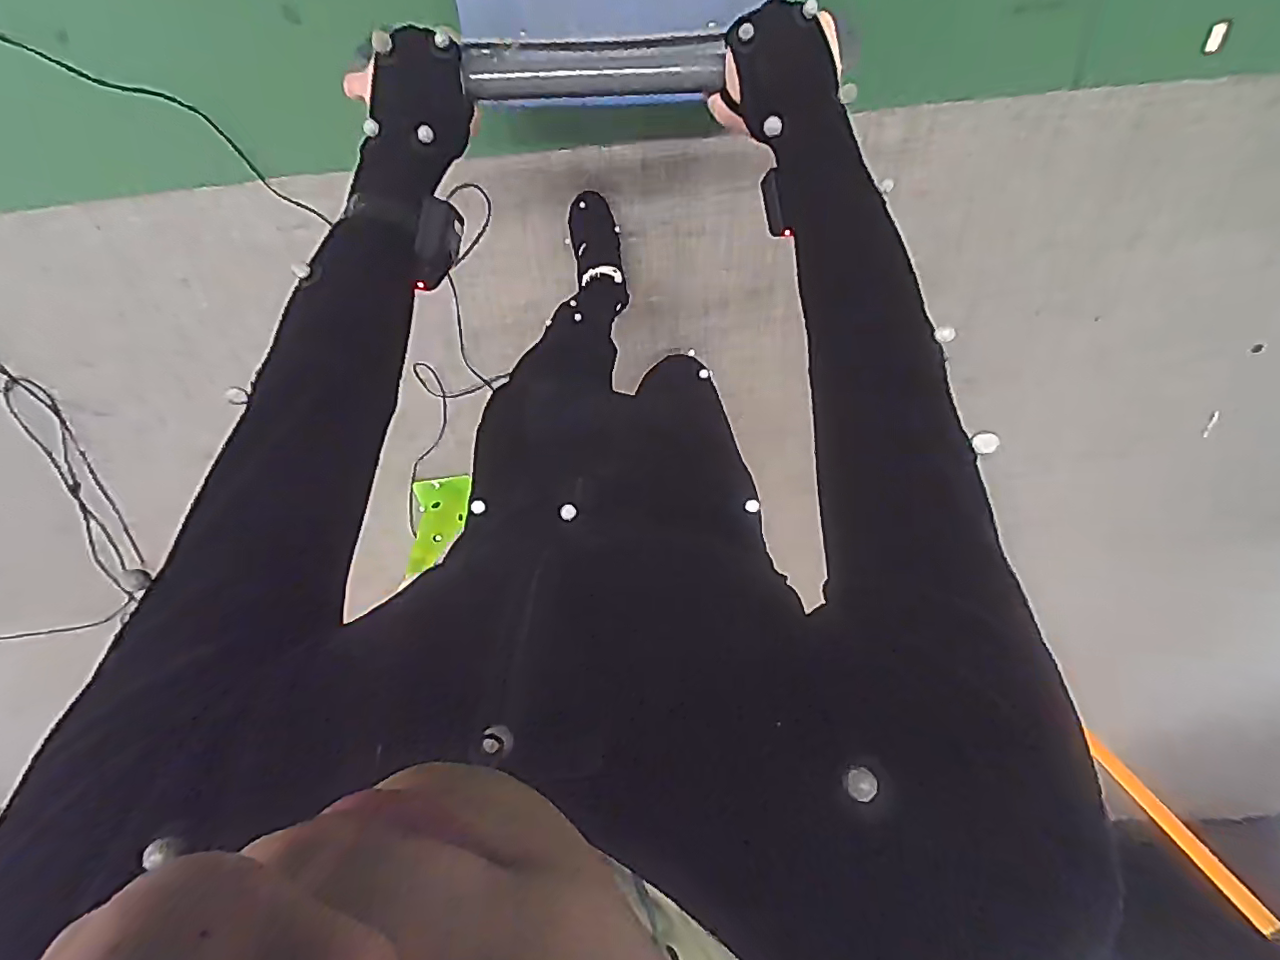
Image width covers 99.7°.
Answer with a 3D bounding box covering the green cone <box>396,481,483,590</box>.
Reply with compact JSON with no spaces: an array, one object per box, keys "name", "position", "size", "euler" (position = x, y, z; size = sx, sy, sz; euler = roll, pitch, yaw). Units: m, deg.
[{"name":"green cone","position":[-0.632,0.185,1.611],"size":[0.202,0.368,0.200],"euler":[-7,122,6]}]
